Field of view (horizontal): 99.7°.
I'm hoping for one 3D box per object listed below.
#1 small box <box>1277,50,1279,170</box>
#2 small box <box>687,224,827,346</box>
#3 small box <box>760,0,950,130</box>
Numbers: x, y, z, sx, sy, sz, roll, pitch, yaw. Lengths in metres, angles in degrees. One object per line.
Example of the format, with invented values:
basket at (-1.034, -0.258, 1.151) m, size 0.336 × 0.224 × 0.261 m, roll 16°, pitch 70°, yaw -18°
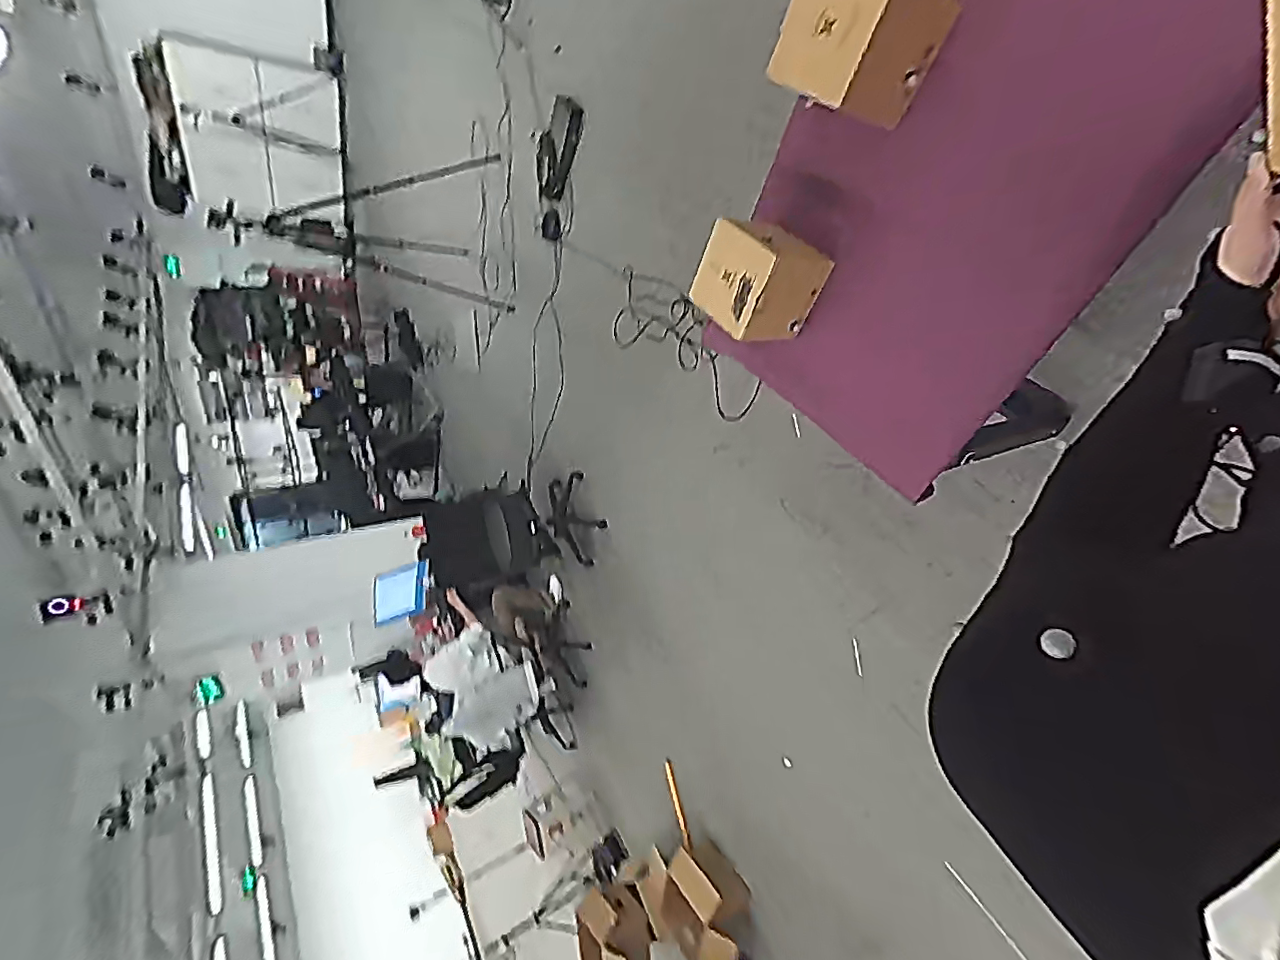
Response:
small box at (0.601, -0.335, 0.389) m, size 0.168 × 0.176 × 0.179 m, roll 3°, pitch 104°, yaw 58°
small box at (0.229, -0.385, 1.065) m, size 0.179 × 0.176 × 0.168 m, roll 51°, pitch 137°, yaw 32°
small box at (0.329, -0.671, 0.840) m, size 0.179 × 0.176 × 0.168 m, roll 52°, pitch 139°, yaw 30°
